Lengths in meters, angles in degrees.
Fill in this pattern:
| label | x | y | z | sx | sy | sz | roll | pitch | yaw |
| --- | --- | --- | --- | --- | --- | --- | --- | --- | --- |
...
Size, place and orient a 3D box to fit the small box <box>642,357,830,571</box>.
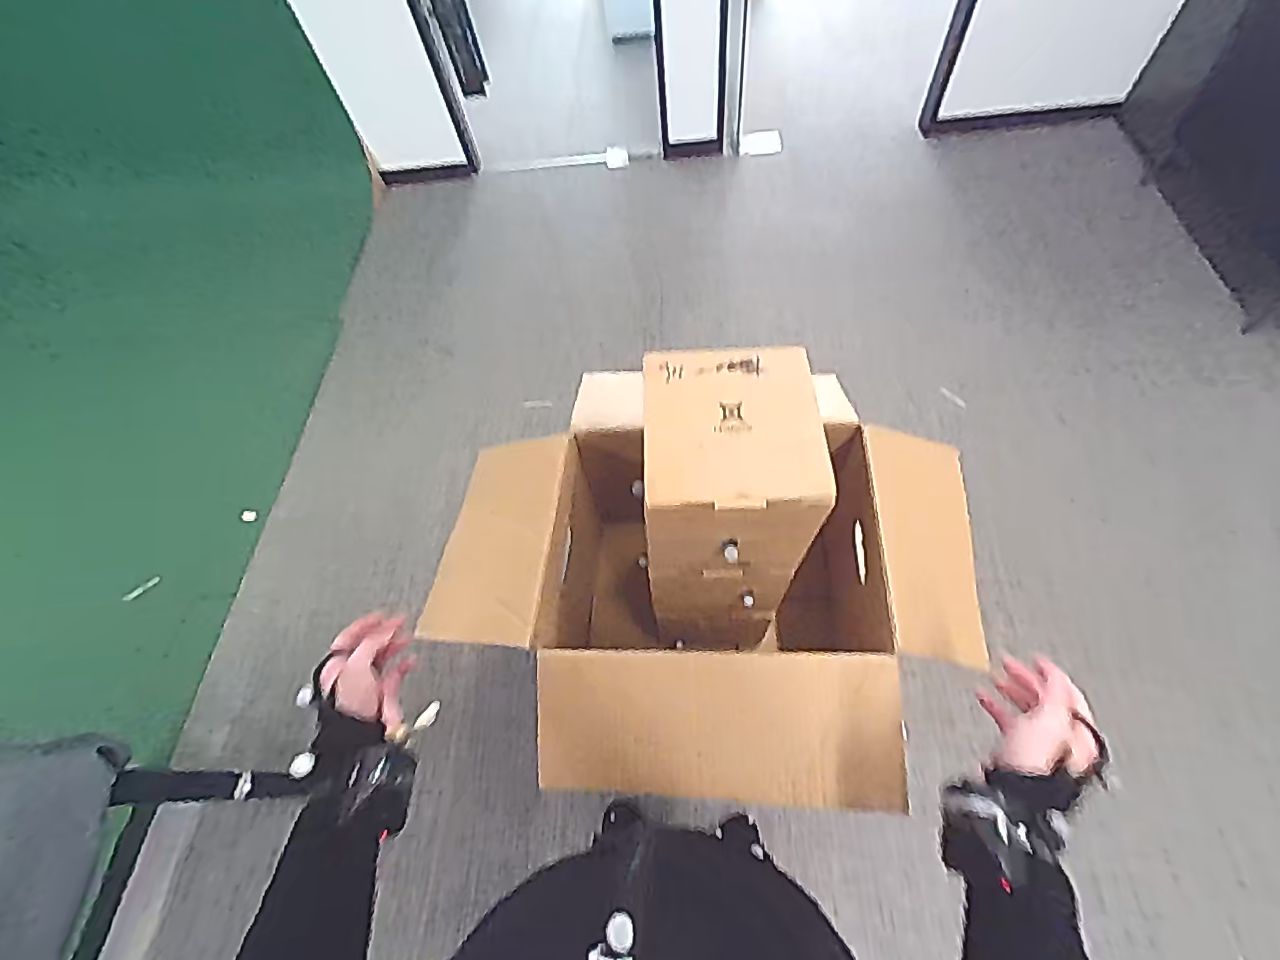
| label | x | y | z | sx | sy | sz | roll | pitch | yaw |
| --- | --- | --- | --- | --- | --- | --- | --- | --- | --- |
| small box | 0.088 | -0.008 | 0.577 | 0.168 | 0.176 | 0.179 | -1 | 61 | 2 |
